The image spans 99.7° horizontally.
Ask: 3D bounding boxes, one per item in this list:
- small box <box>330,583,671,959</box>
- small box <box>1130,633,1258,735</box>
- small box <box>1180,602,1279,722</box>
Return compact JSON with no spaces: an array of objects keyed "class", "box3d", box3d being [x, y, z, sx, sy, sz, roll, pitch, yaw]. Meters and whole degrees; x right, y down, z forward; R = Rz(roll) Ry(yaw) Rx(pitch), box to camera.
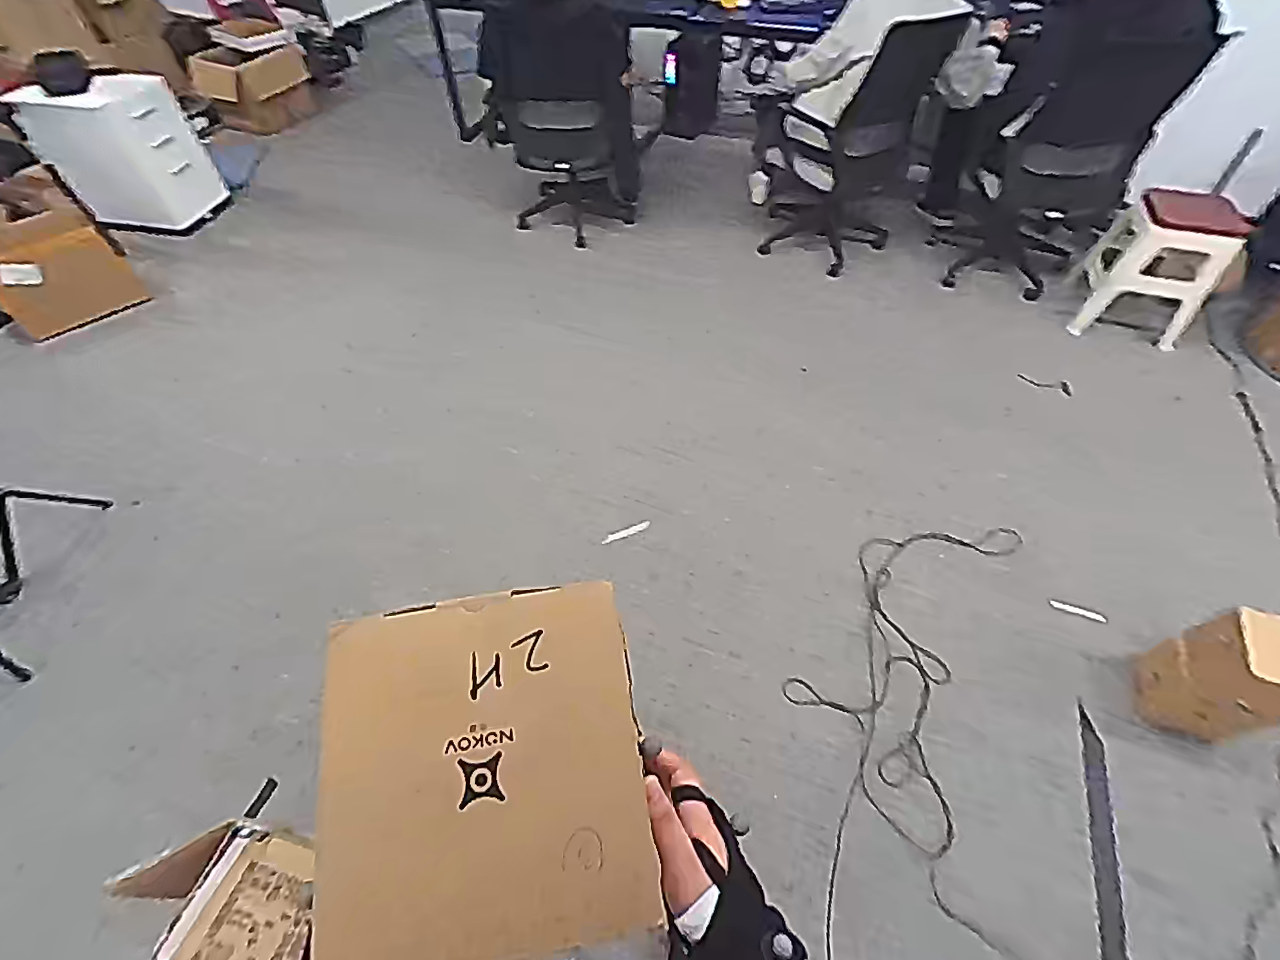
[{"class":"small box","box3d":[-0.079,0.182,0.362,0.168,0.176,0.179,-7,66,-7]},{"class":"small box","box3d":[1.375,0.512,1.348,0.179,0.176,0.168,16,54,13]},{"class":"small box","box3d":[1.378,0.411,1.219,0.168,0.176,0.179,19,56,16]}]
